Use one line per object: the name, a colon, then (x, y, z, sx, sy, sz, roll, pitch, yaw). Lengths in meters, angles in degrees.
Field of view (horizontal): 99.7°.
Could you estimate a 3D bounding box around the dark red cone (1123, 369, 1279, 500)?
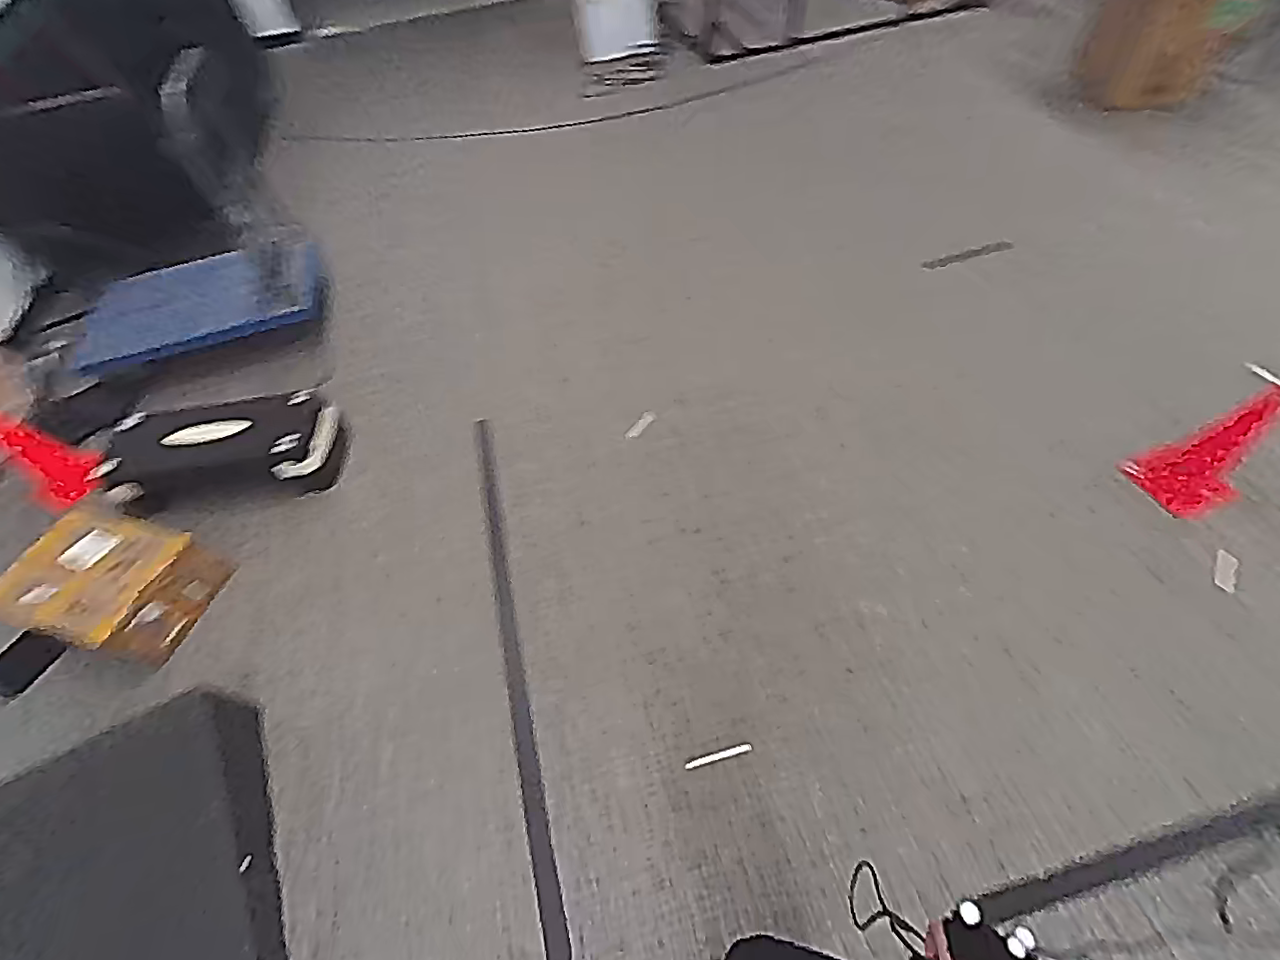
dark red cone: (1.456, -0.138, 1.344, 0.202, 0.394, 0.201, -22, 56, -9)
